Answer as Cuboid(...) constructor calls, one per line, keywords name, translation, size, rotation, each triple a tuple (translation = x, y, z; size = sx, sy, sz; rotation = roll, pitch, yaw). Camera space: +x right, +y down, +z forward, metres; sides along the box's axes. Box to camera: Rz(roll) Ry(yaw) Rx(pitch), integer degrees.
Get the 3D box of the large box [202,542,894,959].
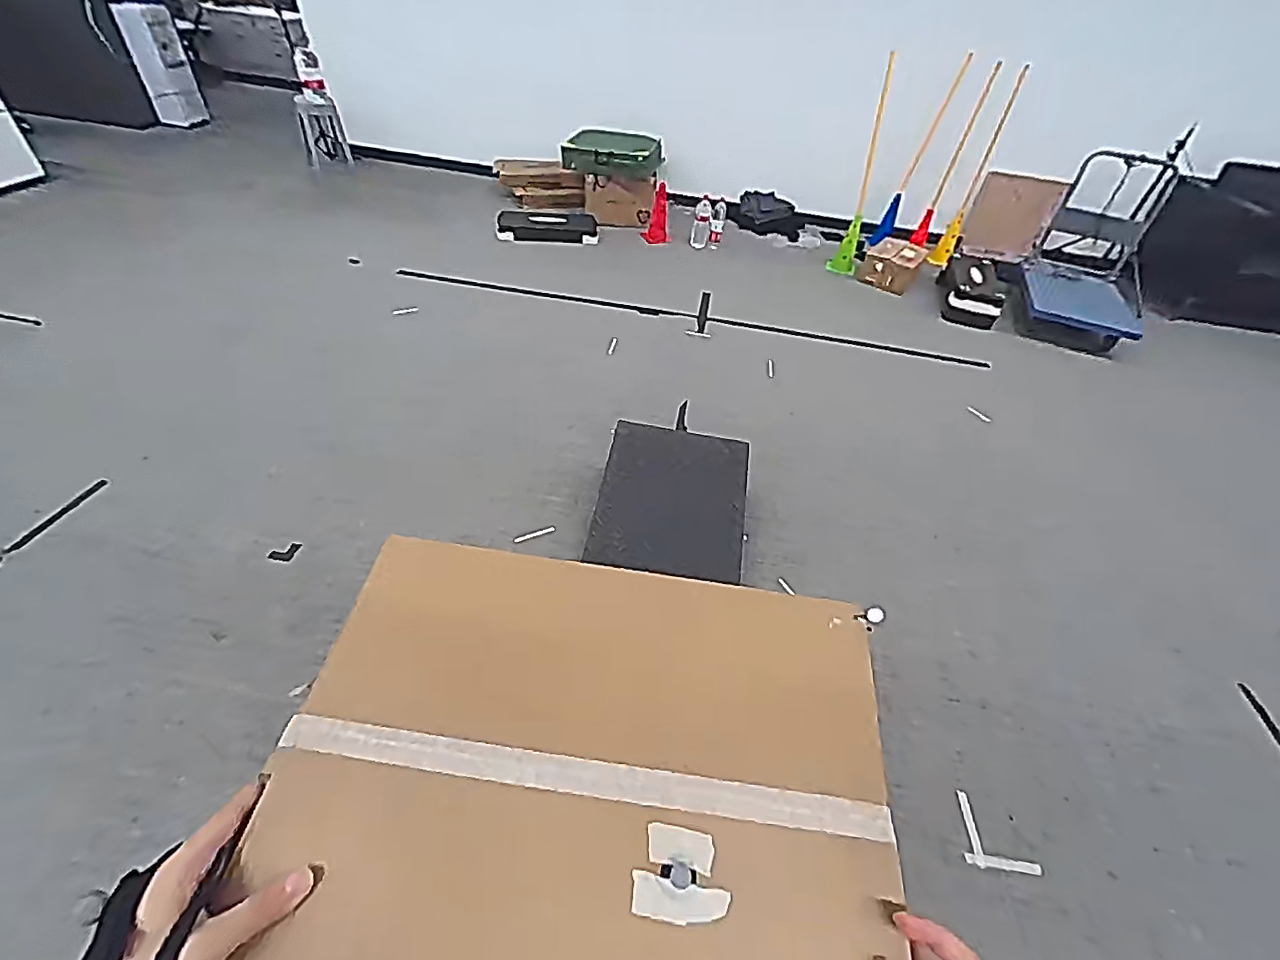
Cuboid(name="large box", translation=(-0.044, 0.288, 0.491), size=(0.408, 0.320, 0.320), rotation=(9, 54, 2))
